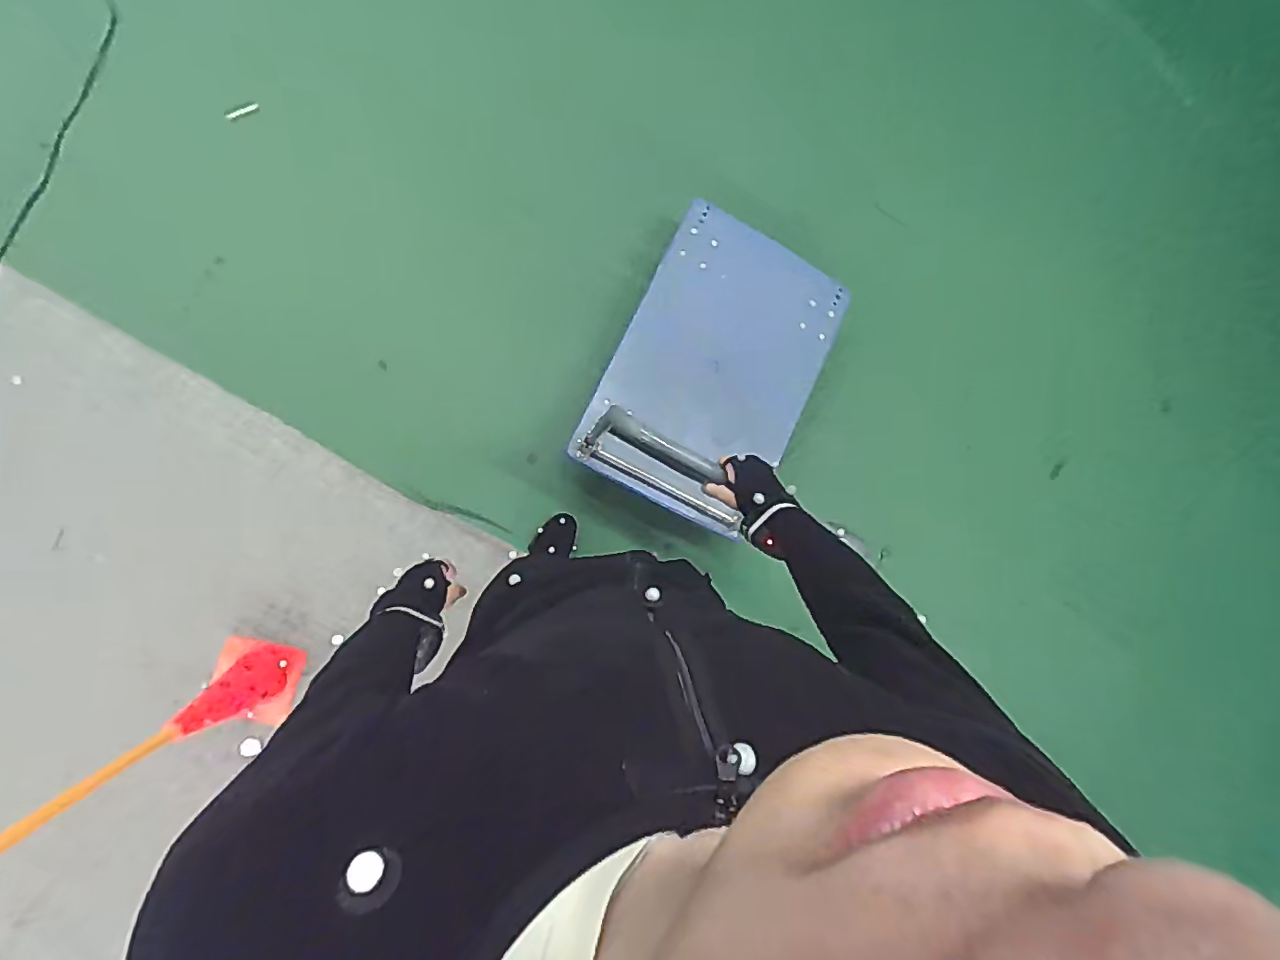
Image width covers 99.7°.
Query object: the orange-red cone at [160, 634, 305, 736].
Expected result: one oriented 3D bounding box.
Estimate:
[{"bbox_3d":[-0.971,0.504,1.244,0.199,0.360,0.198,17,83,-9],"label":"orange-red cone"}]
